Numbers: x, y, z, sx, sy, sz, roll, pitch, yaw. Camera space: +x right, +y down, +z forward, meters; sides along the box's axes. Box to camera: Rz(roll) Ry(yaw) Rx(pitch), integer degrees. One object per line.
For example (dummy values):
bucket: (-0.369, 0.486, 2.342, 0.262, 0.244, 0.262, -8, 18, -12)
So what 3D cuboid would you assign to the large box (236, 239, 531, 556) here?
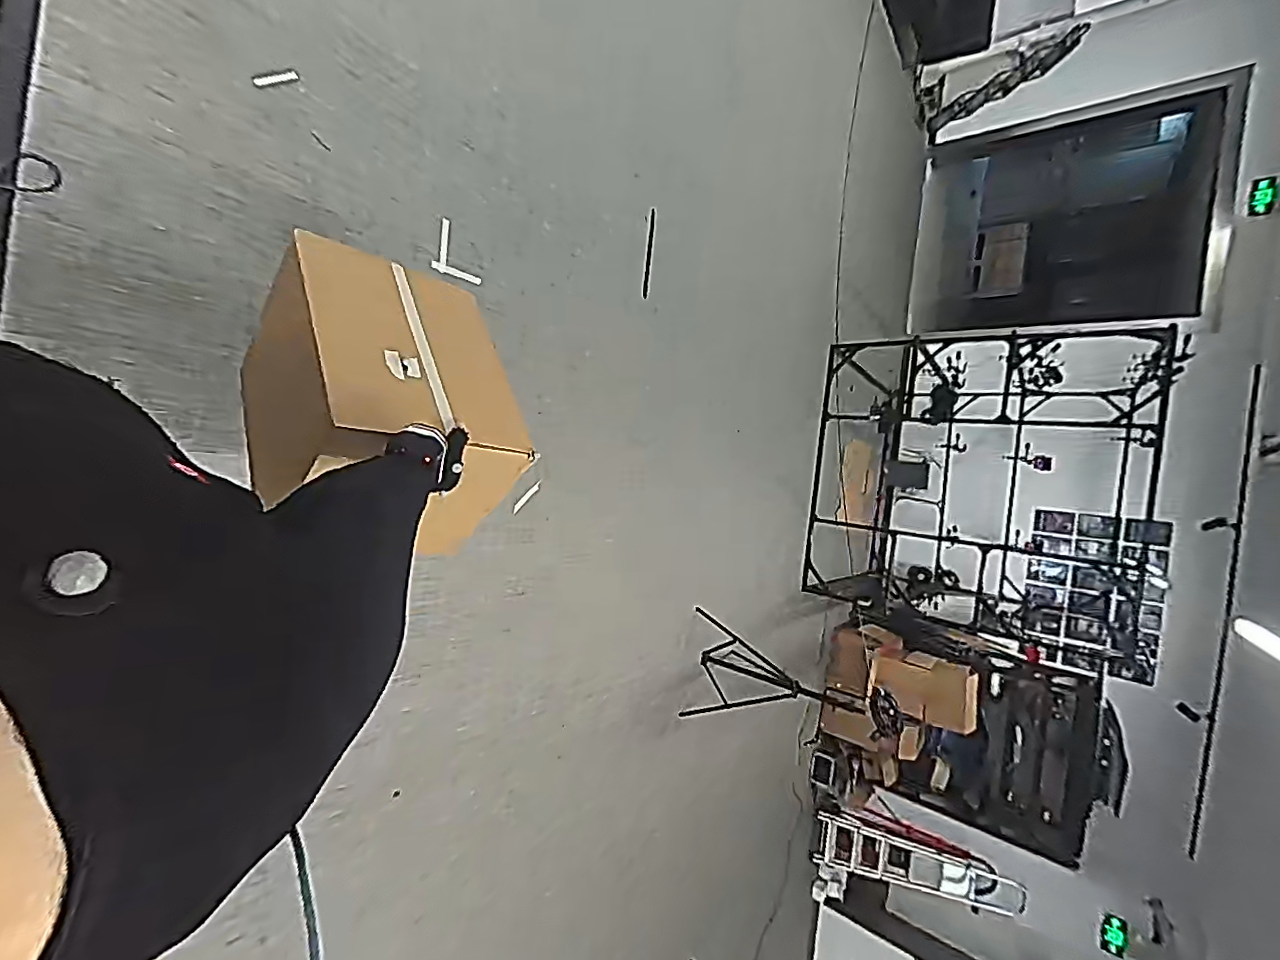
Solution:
large box: (-0.459, -0.119, 0.944, 0.320, 0.320, 0.408, 6, 50, -50)
